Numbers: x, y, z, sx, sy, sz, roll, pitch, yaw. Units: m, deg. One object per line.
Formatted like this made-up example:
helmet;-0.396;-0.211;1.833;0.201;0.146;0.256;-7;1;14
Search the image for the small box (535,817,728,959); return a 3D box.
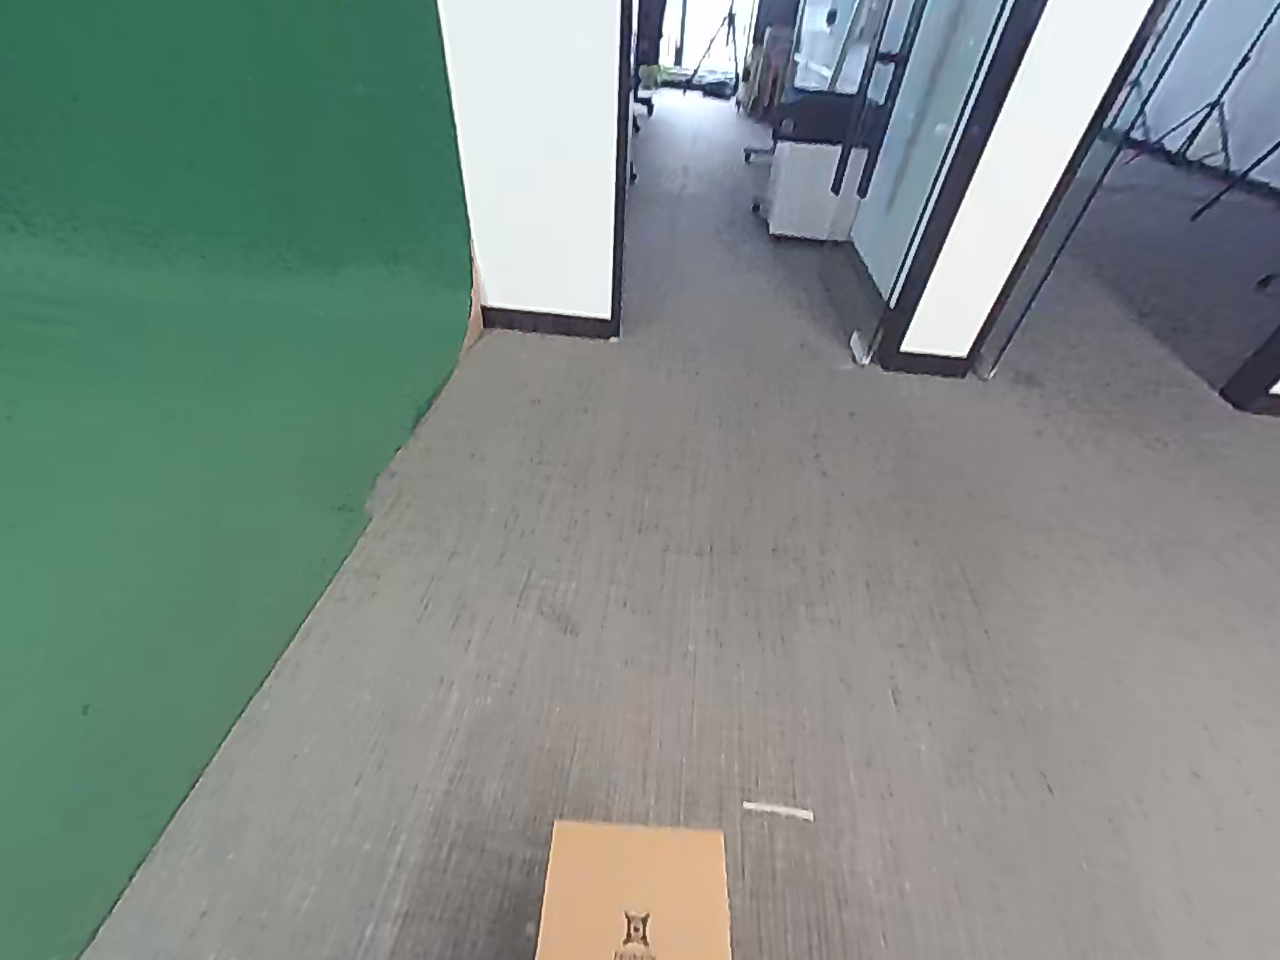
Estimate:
small box;-0.011;0.454;0.519;0.168;0.176;0.179;4;43;0
